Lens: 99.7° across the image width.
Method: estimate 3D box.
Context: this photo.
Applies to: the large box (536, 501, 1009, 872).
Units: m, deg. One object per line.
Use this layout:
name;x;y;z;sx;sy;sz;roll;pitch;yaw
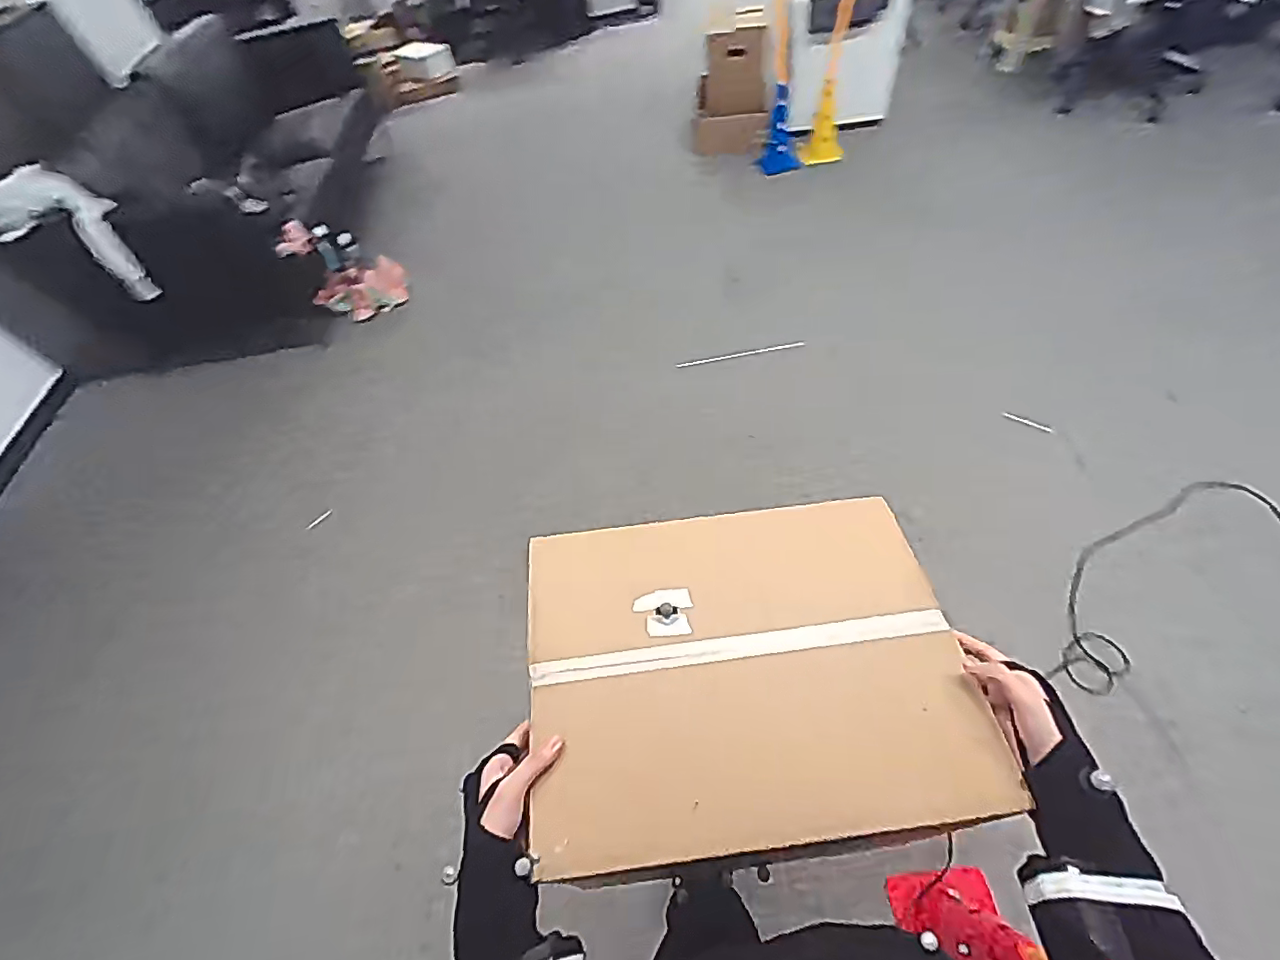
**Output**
large box;0.105;0.256;0.649;0.408;0.320;0.320;-6;52;-1
